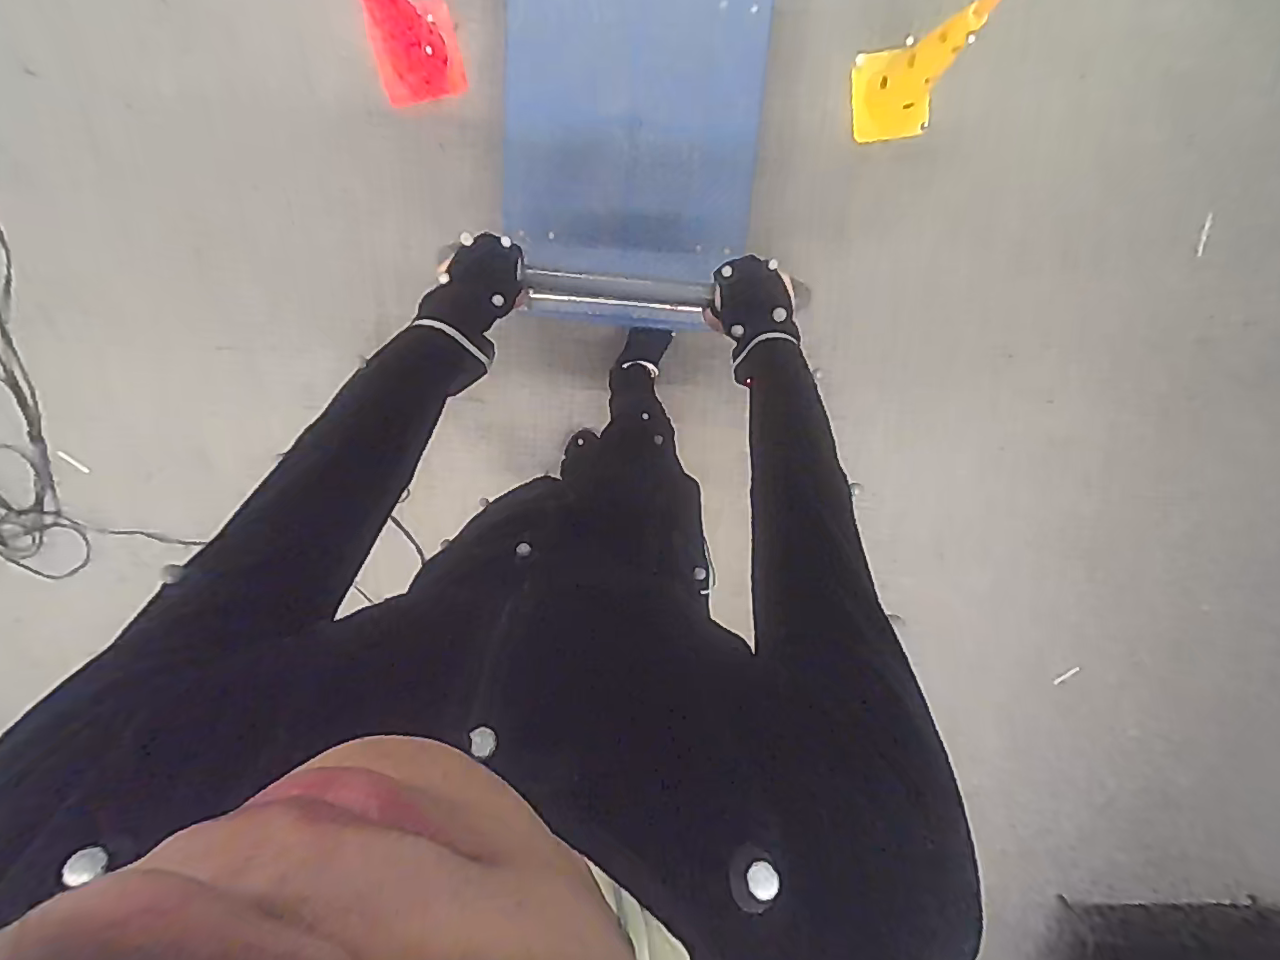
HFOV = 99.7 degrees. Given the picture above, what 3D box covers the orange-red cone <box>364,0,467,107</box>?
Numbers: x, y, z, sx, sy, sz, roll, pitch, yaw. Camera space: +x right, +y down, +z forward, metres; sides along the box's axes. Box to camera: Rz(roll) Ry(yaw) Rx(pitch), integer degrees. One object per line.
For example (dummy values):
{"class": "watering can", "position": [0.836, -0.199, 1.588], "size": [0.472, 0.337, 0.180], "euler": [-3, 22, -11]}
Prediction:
{"class": "orange-red cone", "position": [-0.529, -0.987, 1.147], "size": [0.199, 0.360, 0.198], "euler": [-11, 104, 1]}
